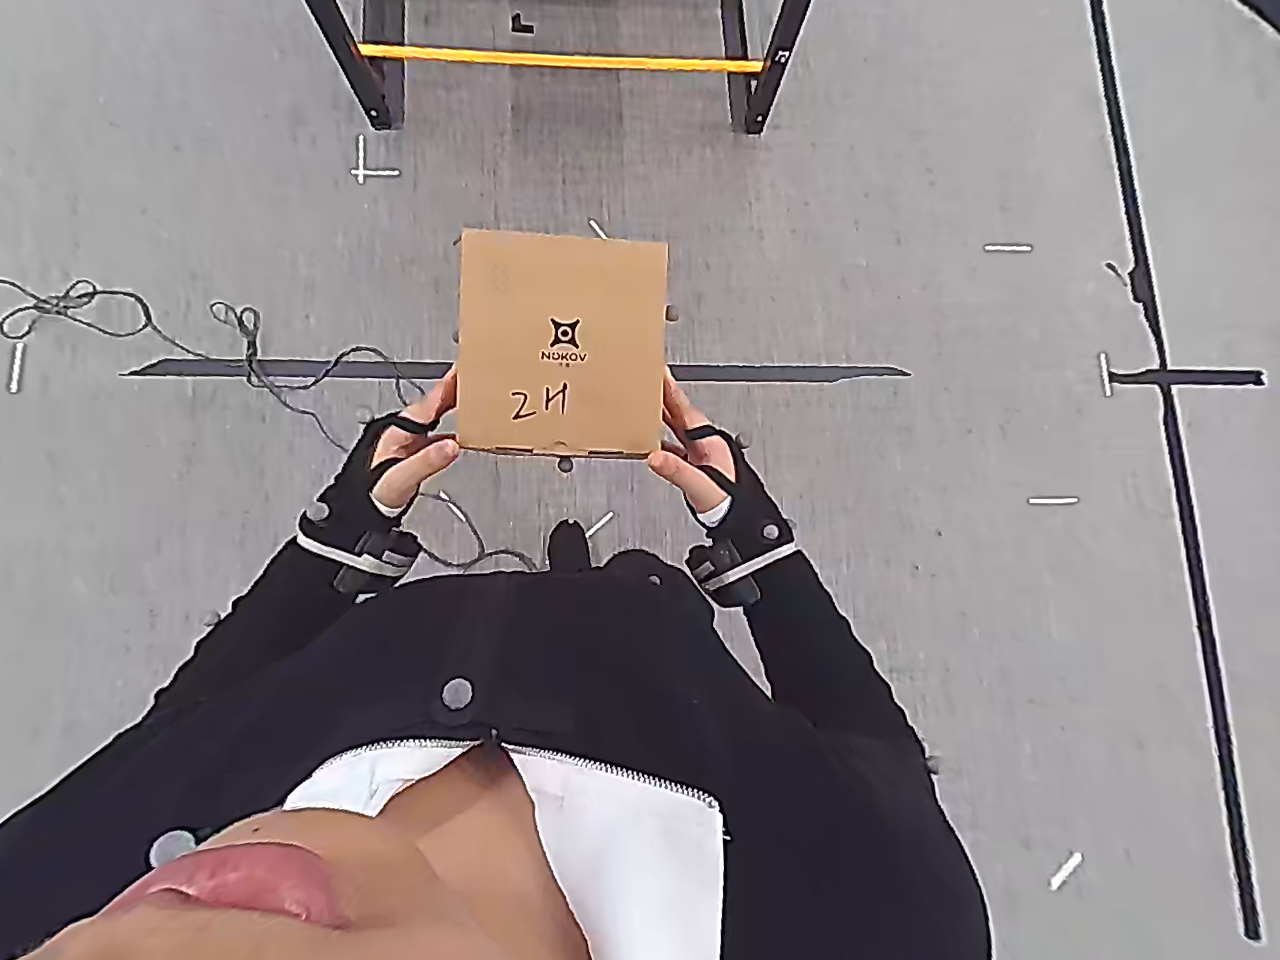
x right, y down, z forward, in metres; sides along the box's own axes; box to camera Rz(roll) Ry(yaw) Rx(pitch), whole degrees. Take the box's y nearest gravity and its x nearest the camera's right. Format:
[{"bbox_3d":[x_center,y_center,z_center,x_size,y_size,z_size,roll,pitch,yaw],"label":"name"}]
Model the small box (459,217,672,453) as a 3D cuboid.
[{"bbox_3d":[-0.065,-0.119,0.514,0.168,0.176,0.179,2,91,-4],"label":"small box"}]
